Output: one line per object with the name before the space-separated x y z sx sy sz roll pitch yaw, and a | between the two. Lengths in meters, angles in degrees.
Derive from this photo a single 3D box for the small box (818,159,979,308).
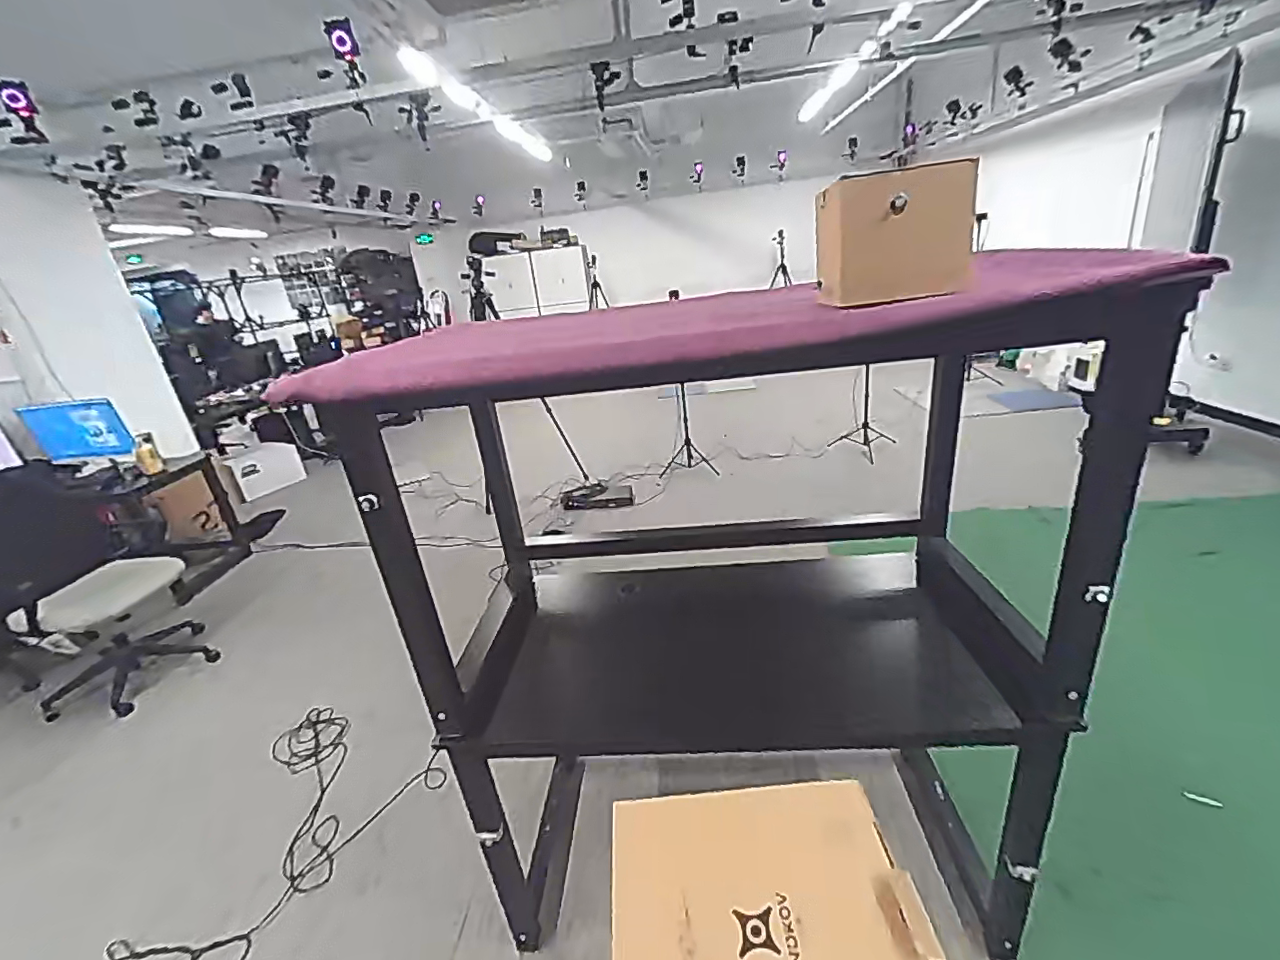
small box | 0.370 -0.352 0.801 0.179 0.176 0.168 -4 20 8

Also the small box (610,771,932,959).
small box | 0.079 0.324 0.350 0.179 0.176 0.168 -8 28 2
